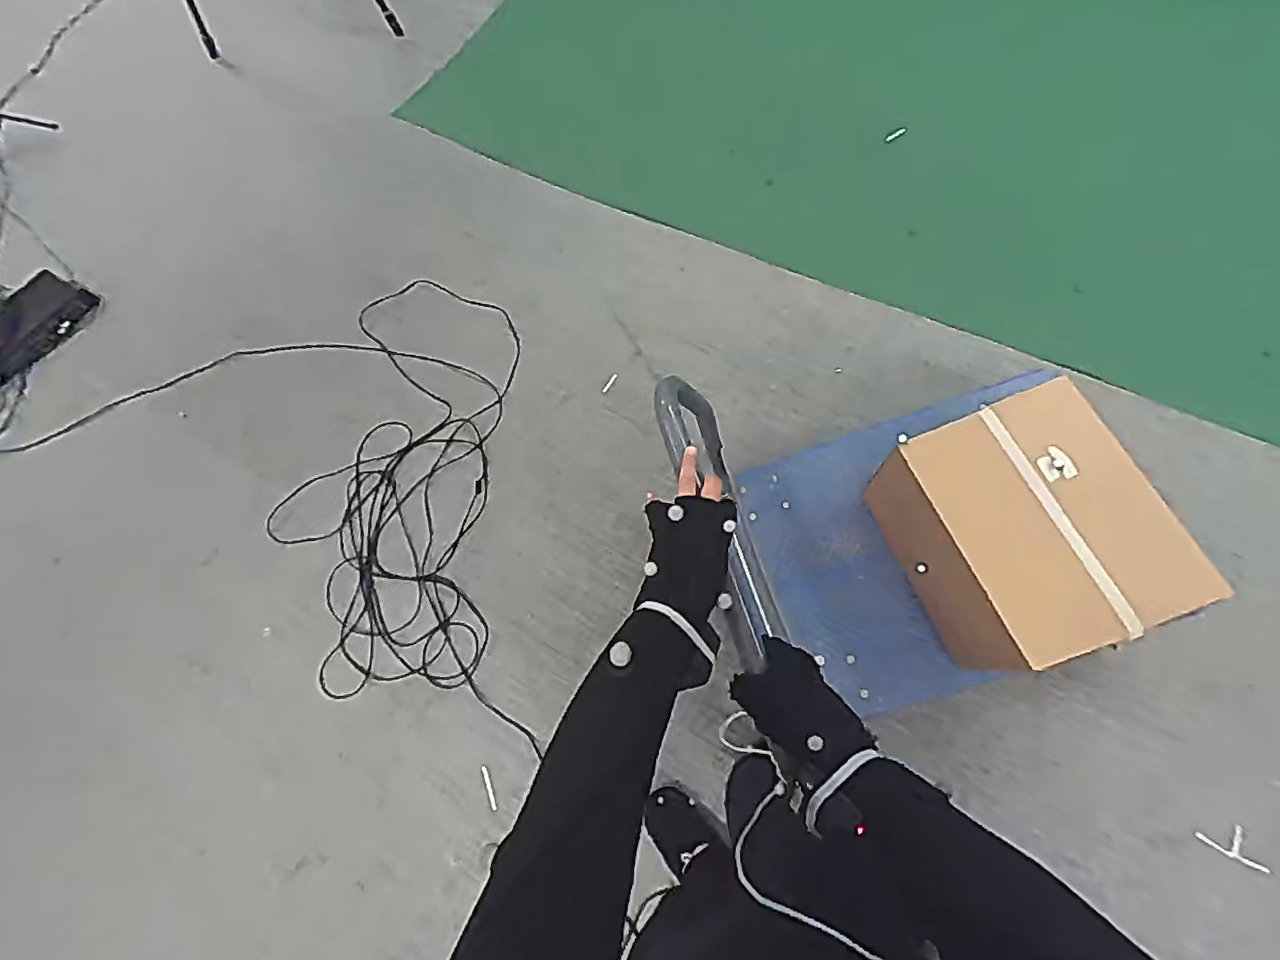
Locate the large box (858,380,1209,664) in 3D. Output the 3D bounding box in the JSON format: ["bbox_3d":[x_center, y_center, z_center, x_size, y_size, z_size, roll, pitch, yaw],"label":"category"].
[{"bbox_3d":[0.680,0.097,1.031,0.320,0.320,0.408,-24,69,2],"label":"large box"}]
